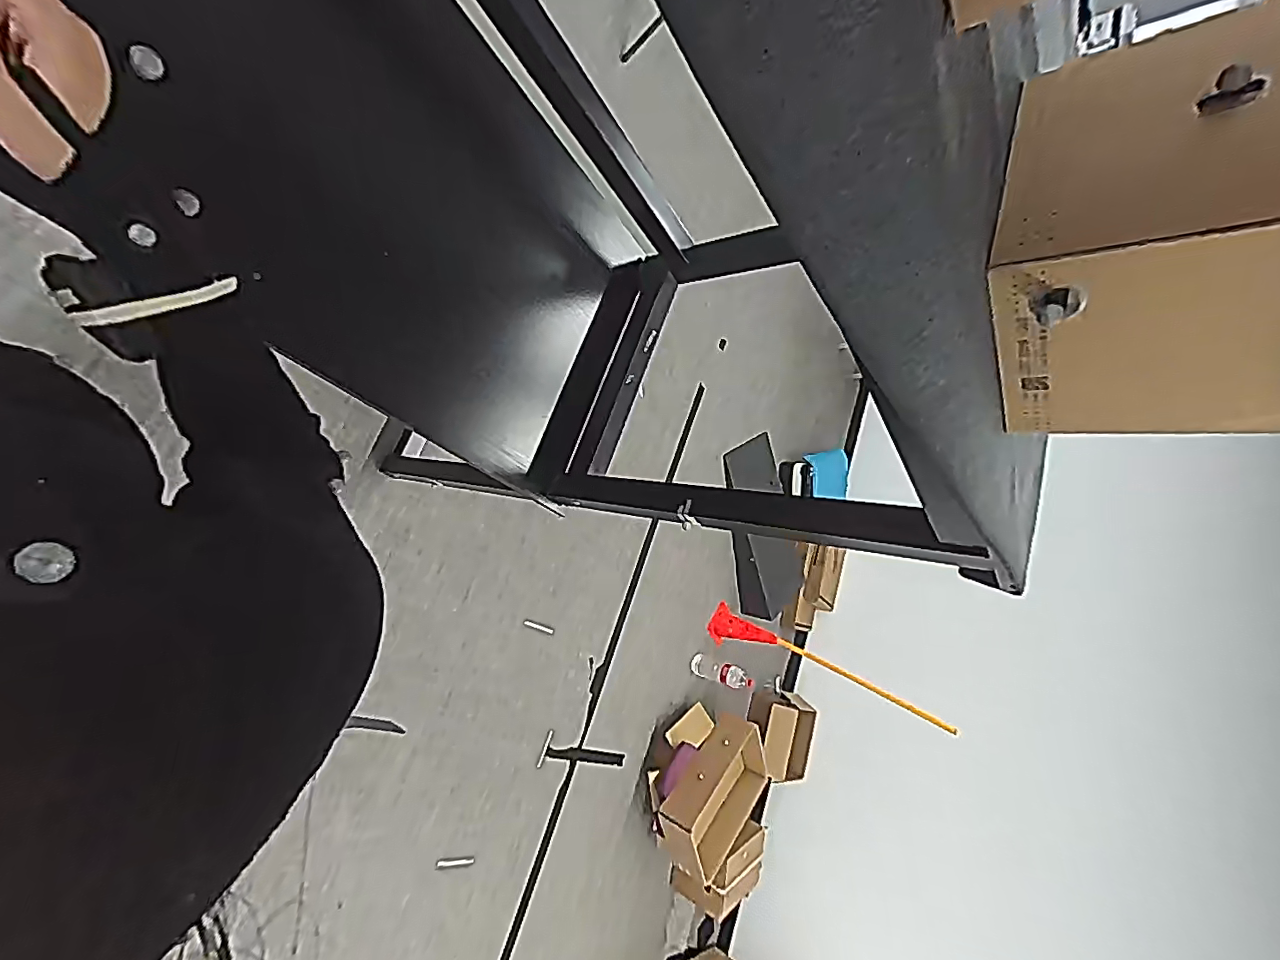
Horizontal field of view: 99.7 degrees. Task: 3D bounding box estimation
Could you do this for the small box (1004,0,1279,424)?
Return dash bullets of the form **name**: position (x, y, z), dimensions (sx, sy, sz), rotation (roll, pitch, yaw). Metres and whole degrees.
- **small box**: position (0.333, -0.146, 0.334), dimensions (0.168, 0.176, 0.179), rotation (43, 60, -44)
